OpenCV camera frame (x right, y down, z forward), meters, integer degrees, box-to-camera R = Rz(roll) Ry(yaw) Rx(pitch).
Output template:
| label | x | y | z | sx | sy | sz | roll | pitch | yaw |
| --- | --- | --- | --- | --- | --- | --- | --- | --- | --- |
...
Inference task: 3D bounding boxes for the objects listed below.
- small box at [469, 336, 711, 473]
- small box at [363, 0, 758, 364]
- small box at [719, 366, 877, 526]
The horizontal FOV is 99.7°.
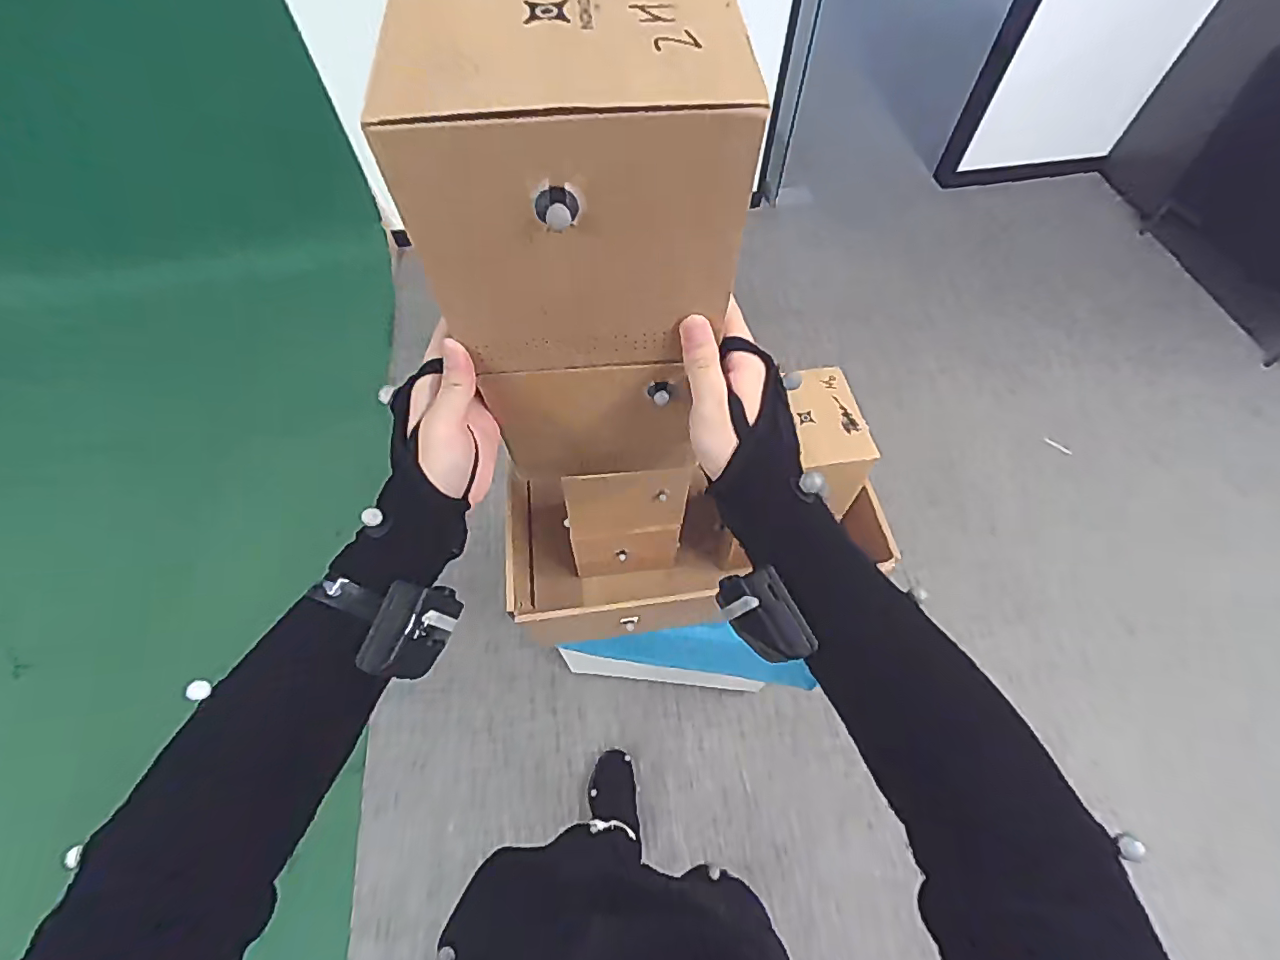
| label | x | y | z | sx | sy | sz | roll | pitch | yaw |
| --- | --- | --- | --- | --- | --- | --- | --- | --- | --- |
| small box | -0.041 | -0.116 | 0.488 | 0.179 | 0.176 | 0.168 | -4 | 63 | -3 |
| small box | -0.040 | -0.189 | 0.340 | 0.179 | 0.176 | 0.168 | -5 | 64 | -3 |
| small box | 0.221 | -0.044 | 0.816 | 0.179 | 0.176 | 0.168 | -9 | 60 | -2 |
